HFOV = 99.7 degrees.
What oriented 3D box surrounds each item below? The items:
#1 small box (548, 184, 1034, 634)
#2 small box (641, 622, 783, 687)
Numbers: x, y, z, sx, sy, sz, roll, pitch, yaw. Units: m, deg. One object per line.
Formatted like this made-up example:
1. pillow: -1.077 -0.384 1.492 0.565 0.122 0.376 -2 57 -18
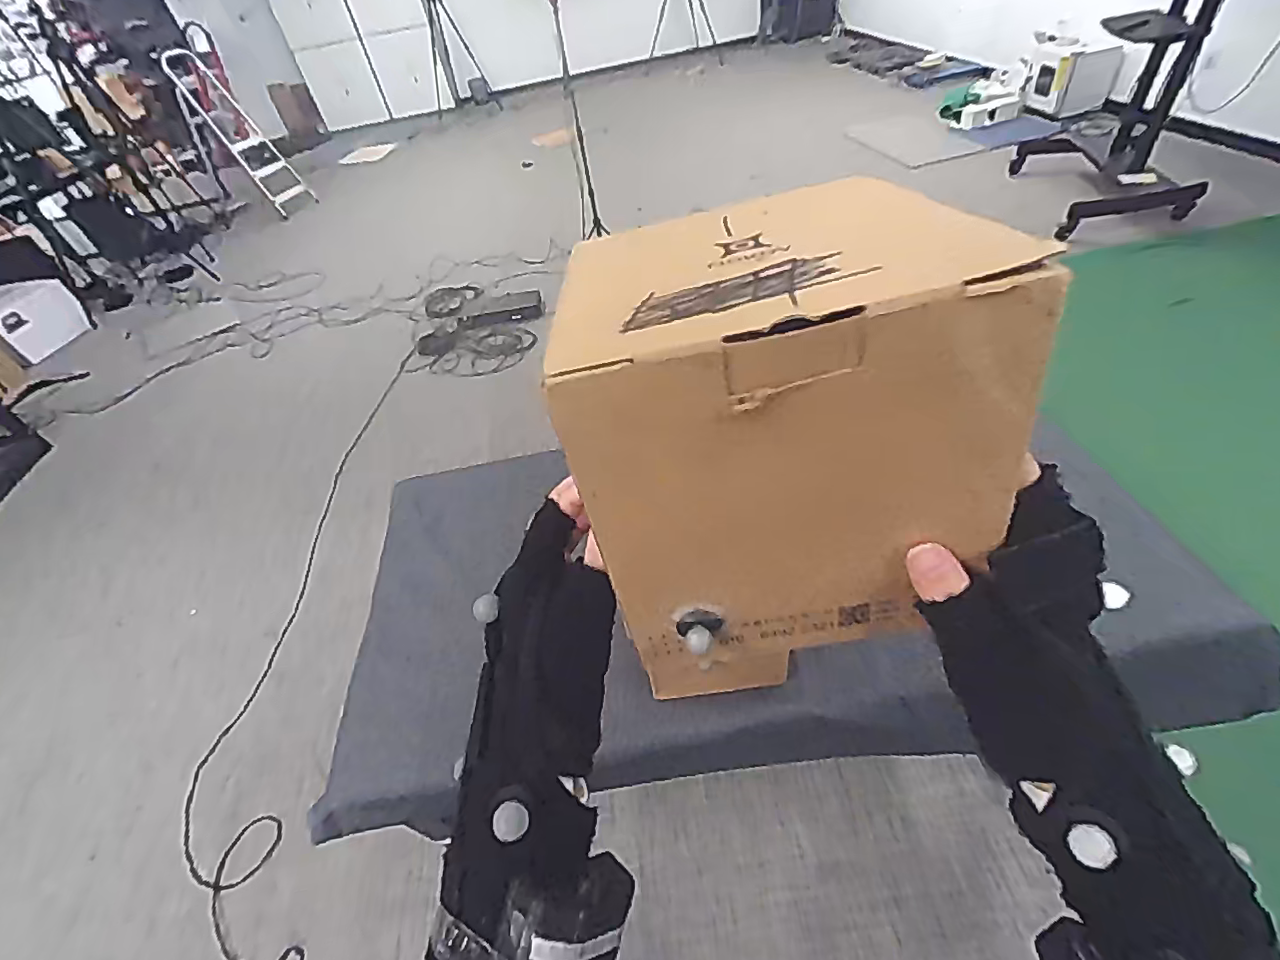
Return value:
1. small box: 0.061 -0.036 0.291 0.168 0.176 0.179 -10 35 5
2. small box: 0.091 0.162 0.728 0.179 0.176 0.168 -8 44 3
